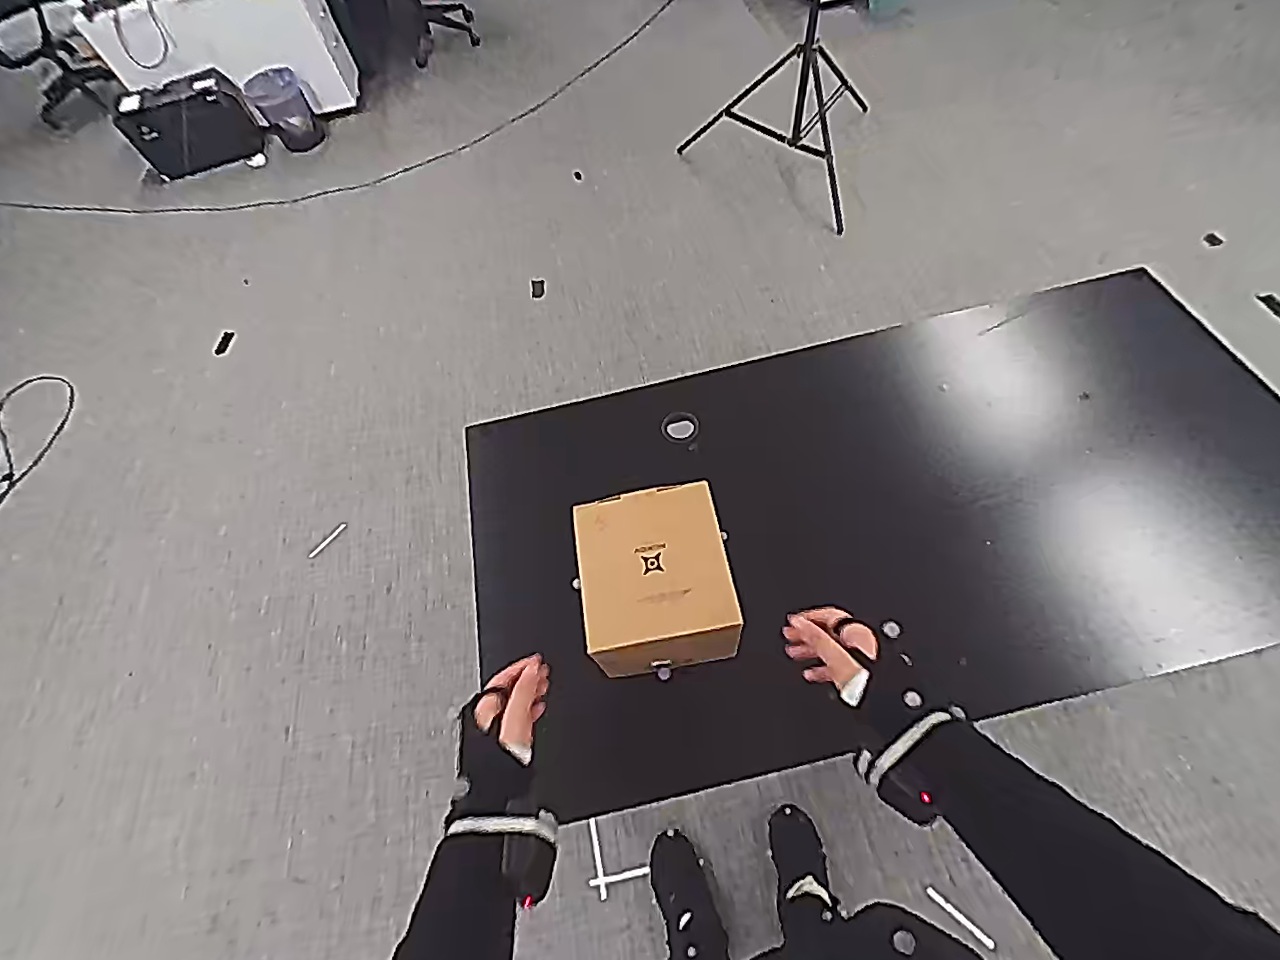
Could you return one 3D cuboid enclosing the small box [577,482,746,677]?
[{"bbox_3d":[0.026,0.128,0.667,0.168,0.176,0.179,-12,61,1],"label":"small box"}]
